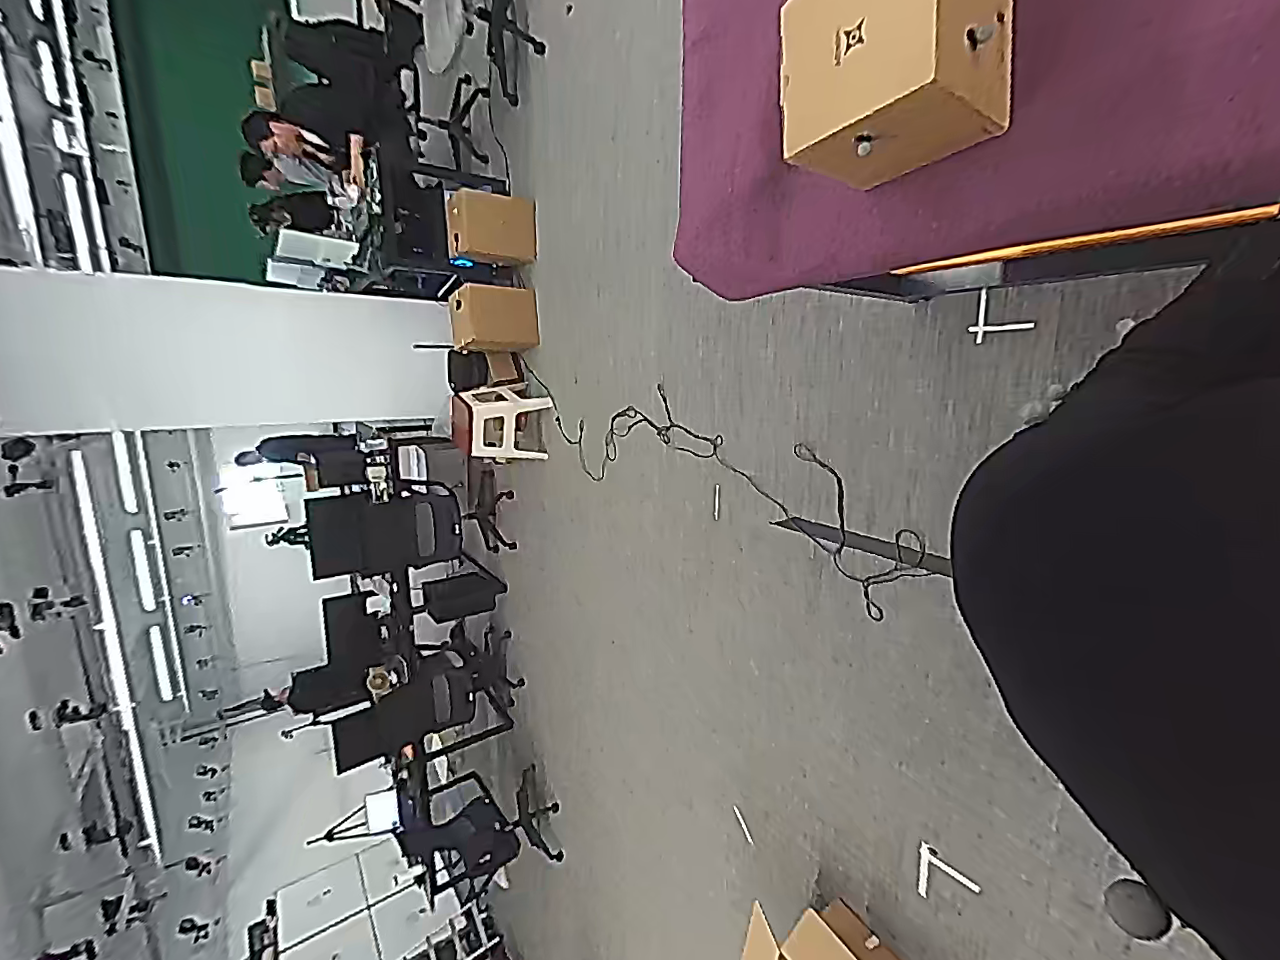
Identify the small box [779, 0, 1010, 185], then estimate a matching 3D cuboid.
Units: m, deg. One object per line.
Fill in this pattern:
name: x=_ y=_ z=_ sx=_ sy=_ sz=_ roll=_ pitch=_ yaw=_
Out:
small box: x=0.276 y=-0.450 z=0.588 sx=0.179 sy=0.176 sz=0.168 roll=6 pitch=101 yaw=55
